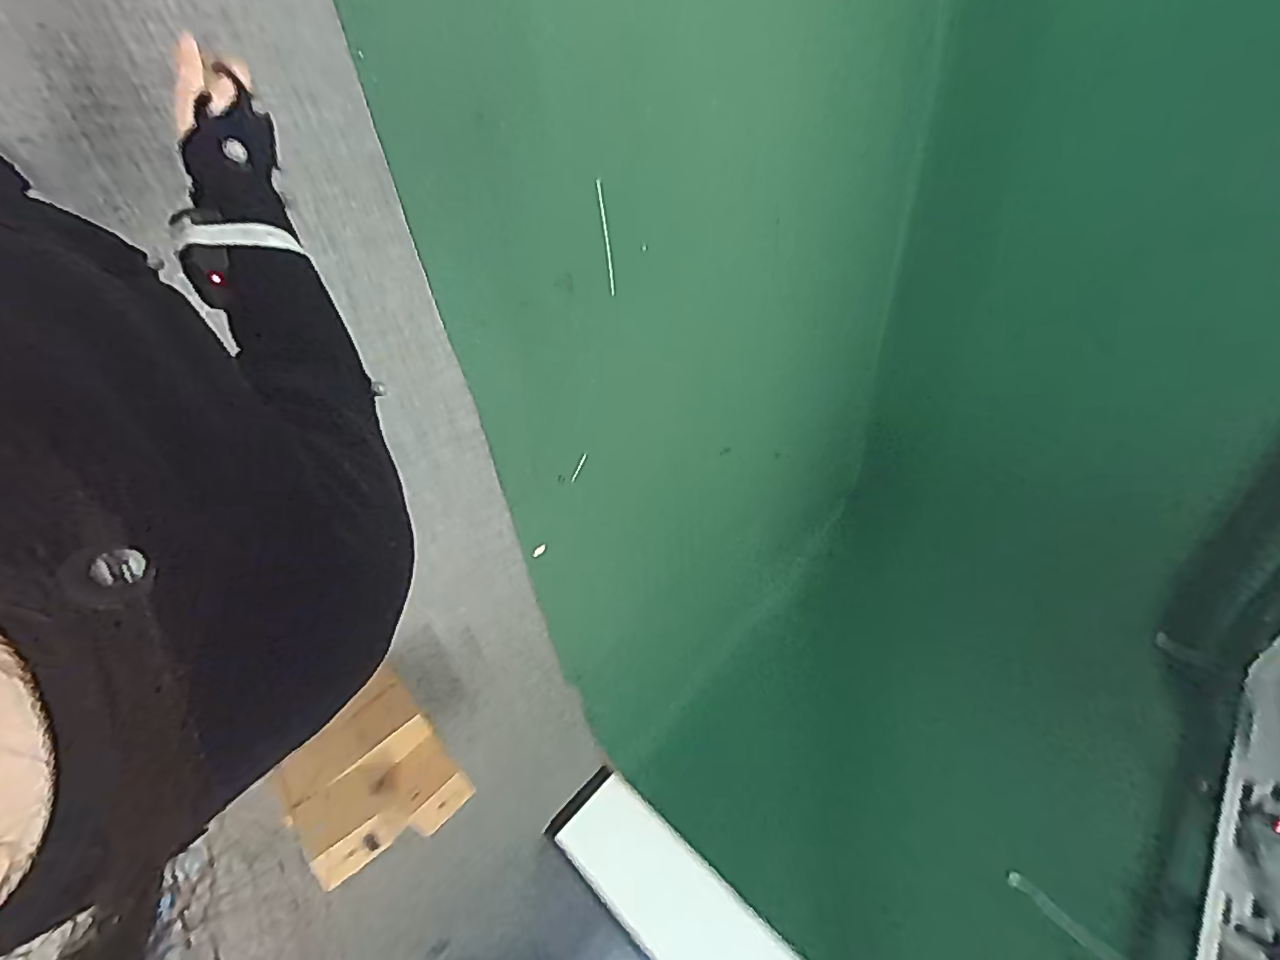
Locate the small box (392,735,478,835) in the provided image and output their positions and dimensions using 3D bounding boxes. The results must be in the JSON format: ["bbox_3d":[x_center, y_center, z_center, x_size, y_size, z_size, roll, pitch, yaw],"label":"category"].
[{"bbox_3d":[-0.641,0.940,1.674,0.179,0.176,0.168,-37,138,-30],"label":"small box"}]
